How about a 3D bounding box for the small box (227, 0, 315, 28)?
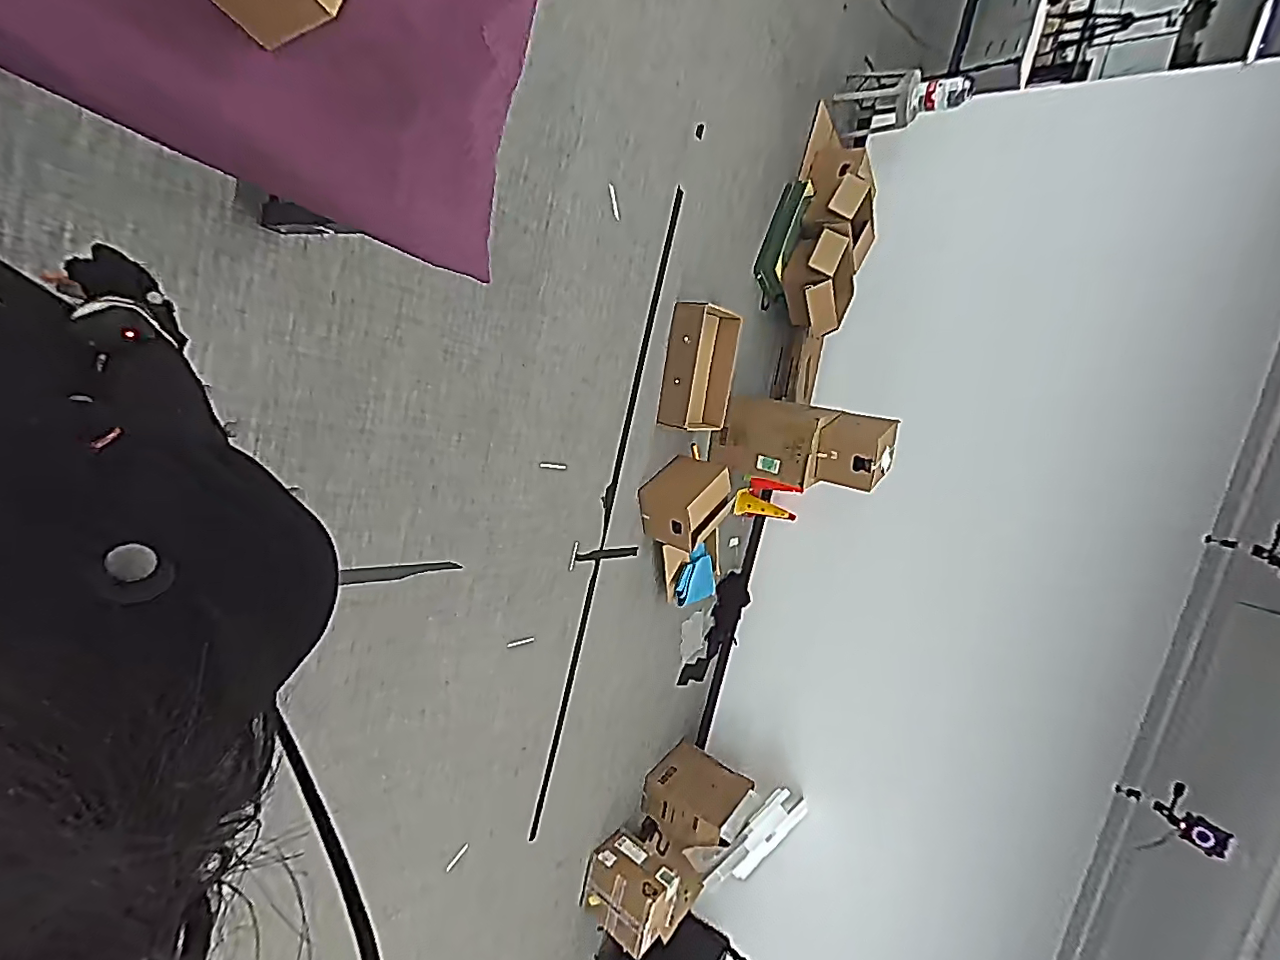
[{"bbox_3d":[-0.375,-0.586,0.512,0.179,0.176,0.168,32,78,-56],"label":"small box"}]
